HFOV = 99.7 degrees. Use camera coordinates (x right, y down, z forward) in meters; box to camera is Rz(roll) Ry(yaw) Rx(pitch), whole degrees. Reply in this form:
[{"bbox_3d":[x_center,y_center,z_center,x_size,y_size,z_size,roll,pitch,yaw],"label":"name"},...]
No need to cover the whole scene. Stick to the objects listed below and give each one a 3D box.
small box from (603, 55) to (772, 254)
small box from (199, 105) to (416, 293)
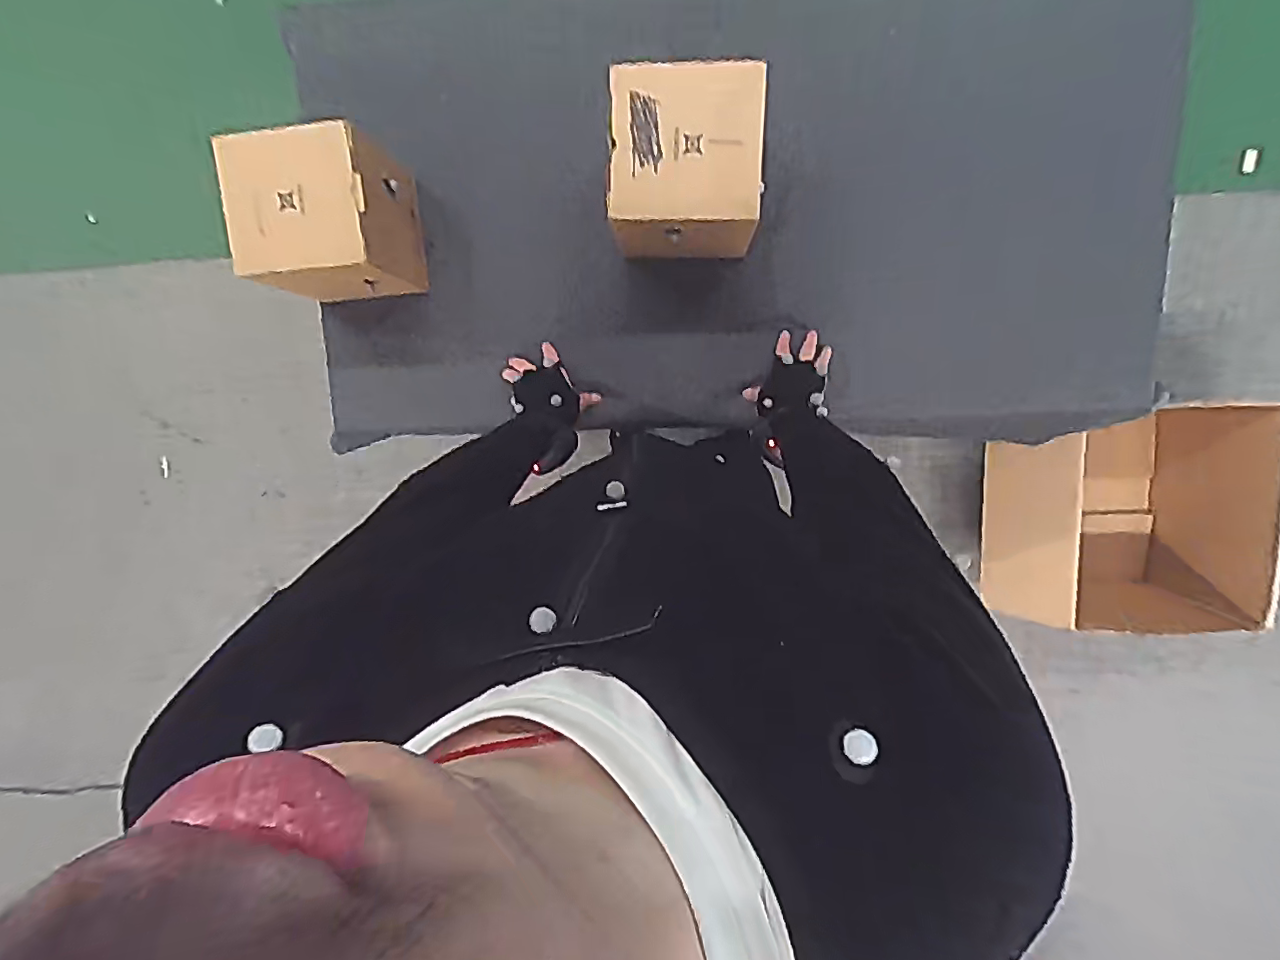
[{"bbox_3d":[0.057,-0.393,0.681,0.179,0.176,0.168,5,101,4],"label":"small box"},{"bbox_3d":[-0.417,-0.354,0.713,0.179,0.176,0.168,-4,97,6],"label":"small box"}]
